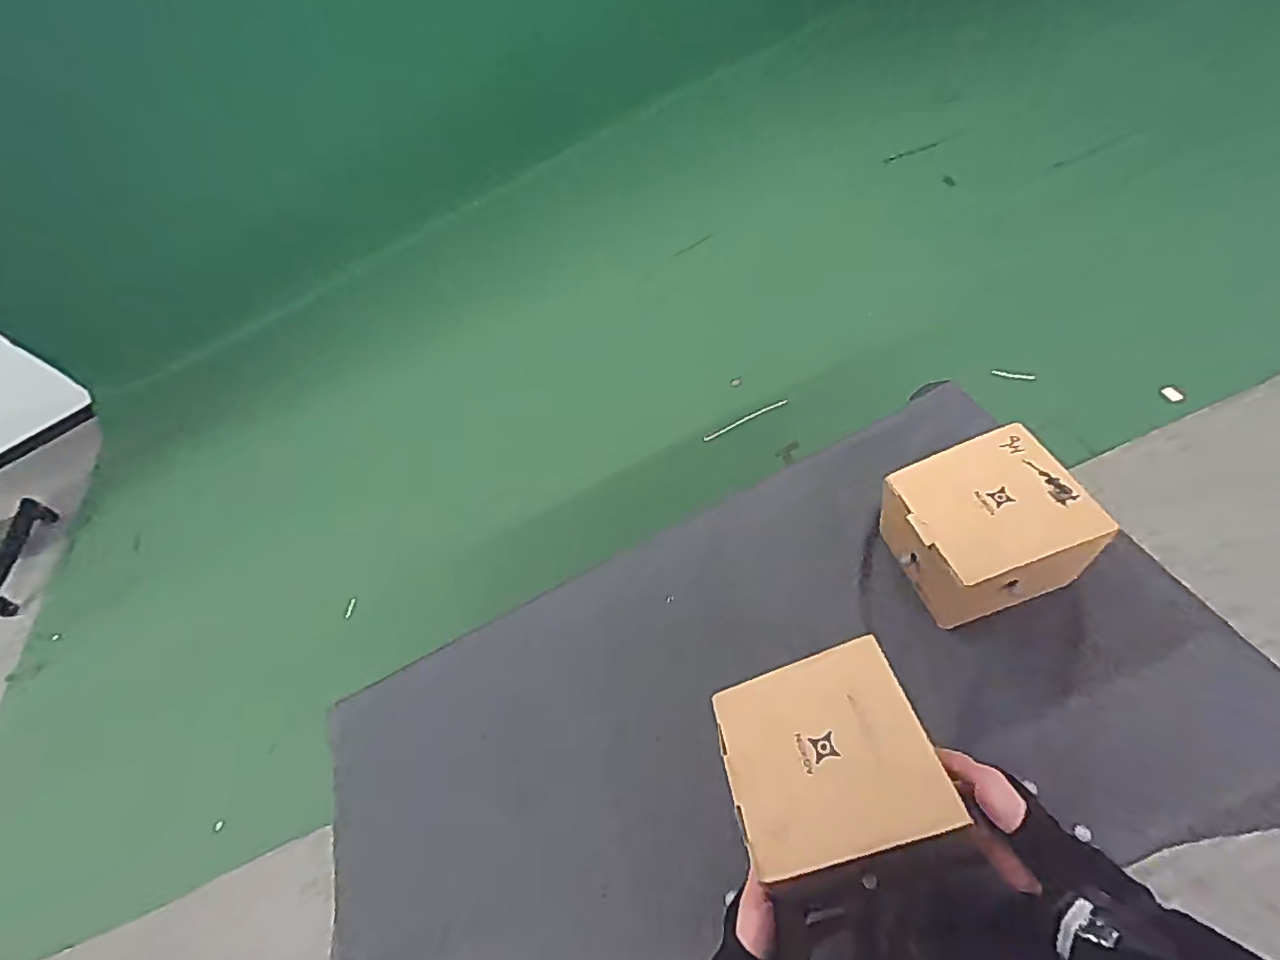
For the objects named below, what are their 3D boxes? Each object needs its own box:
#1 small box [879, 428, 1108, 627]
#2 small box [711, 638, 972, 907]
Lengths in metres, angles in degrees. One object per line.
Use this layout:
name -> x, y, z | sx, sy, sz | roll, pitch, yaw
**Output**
small box -> 0.433, 0.070, 0.700 | 0.179, 0.176, 0.168 | -23, 54, 6
small box -> 0.194, 0.291, 0.530 | 0.179, 0.176, 0.168 | -25, 40, 11
